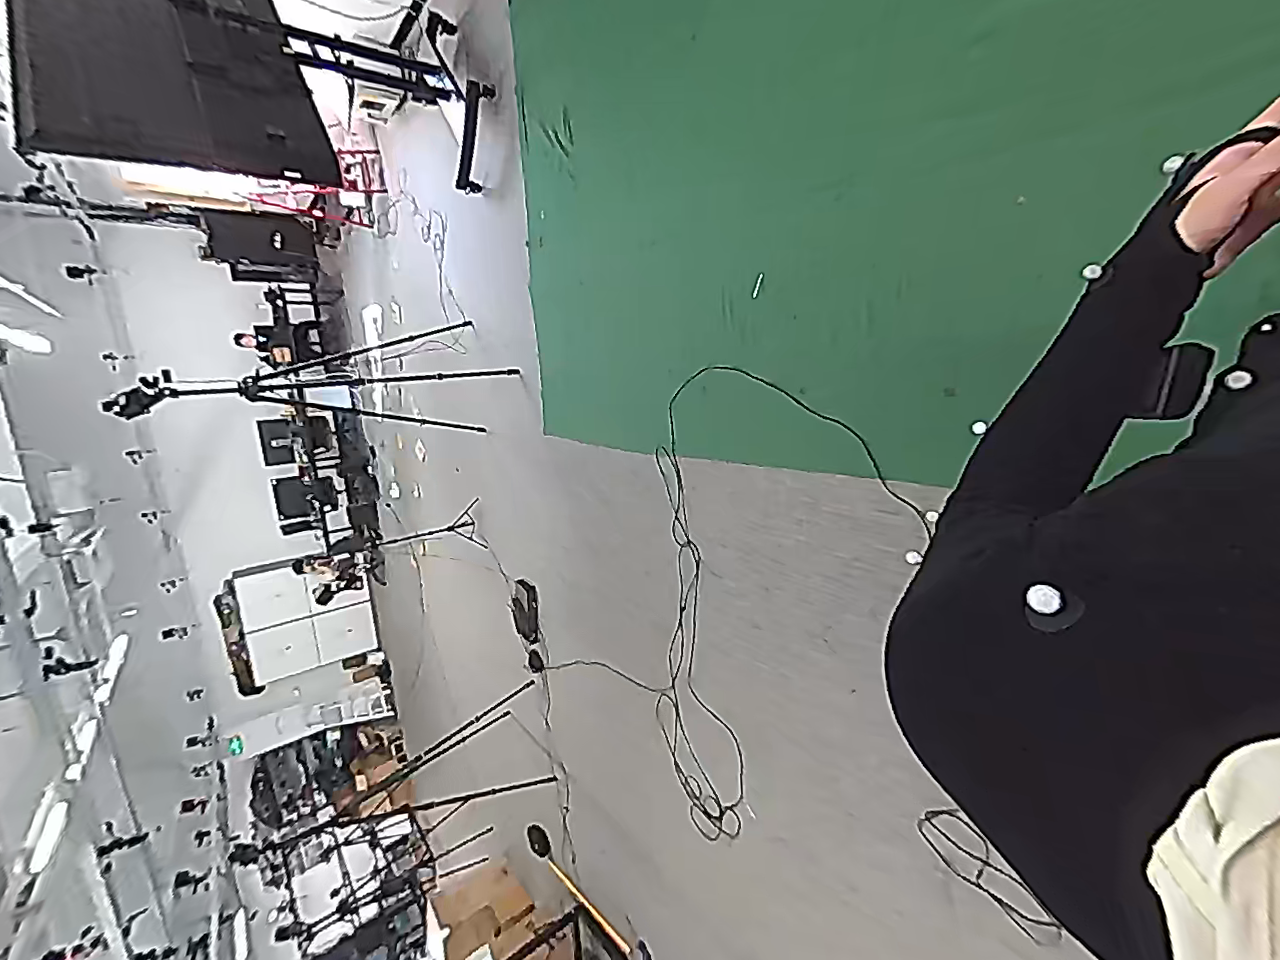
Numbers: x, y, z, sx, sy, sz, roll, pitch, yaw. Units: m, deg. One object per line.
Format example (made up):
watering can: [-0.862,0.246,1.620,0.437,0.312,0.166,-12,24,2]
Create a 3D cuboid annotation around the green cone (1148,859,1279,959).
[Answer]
green cone: [1.203,1.056,1.169,0.202,0.368,0.200,13,109,51]
